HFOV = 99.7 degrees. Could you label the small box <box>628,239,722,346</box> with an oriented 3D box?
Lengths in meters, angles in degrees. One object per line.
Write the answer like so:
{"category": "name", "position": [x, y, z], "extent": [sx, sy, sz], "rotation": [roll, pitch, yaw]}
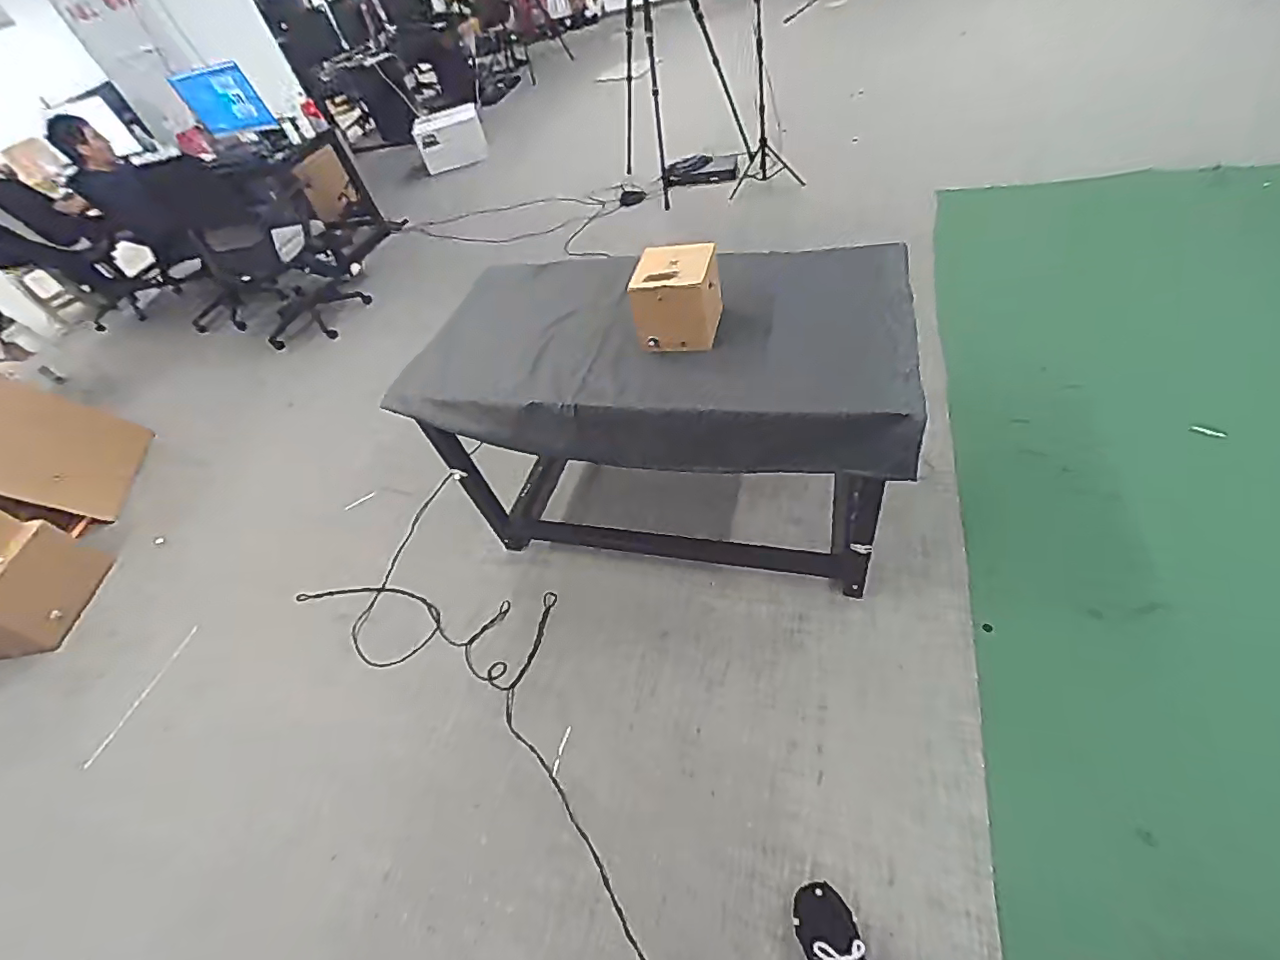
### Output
{"category": "small box", "position": [0.089, -0.422, 1.235], "extent": [0.168, 0.176, 0.179], "rotation": [4, 51, 19]}
